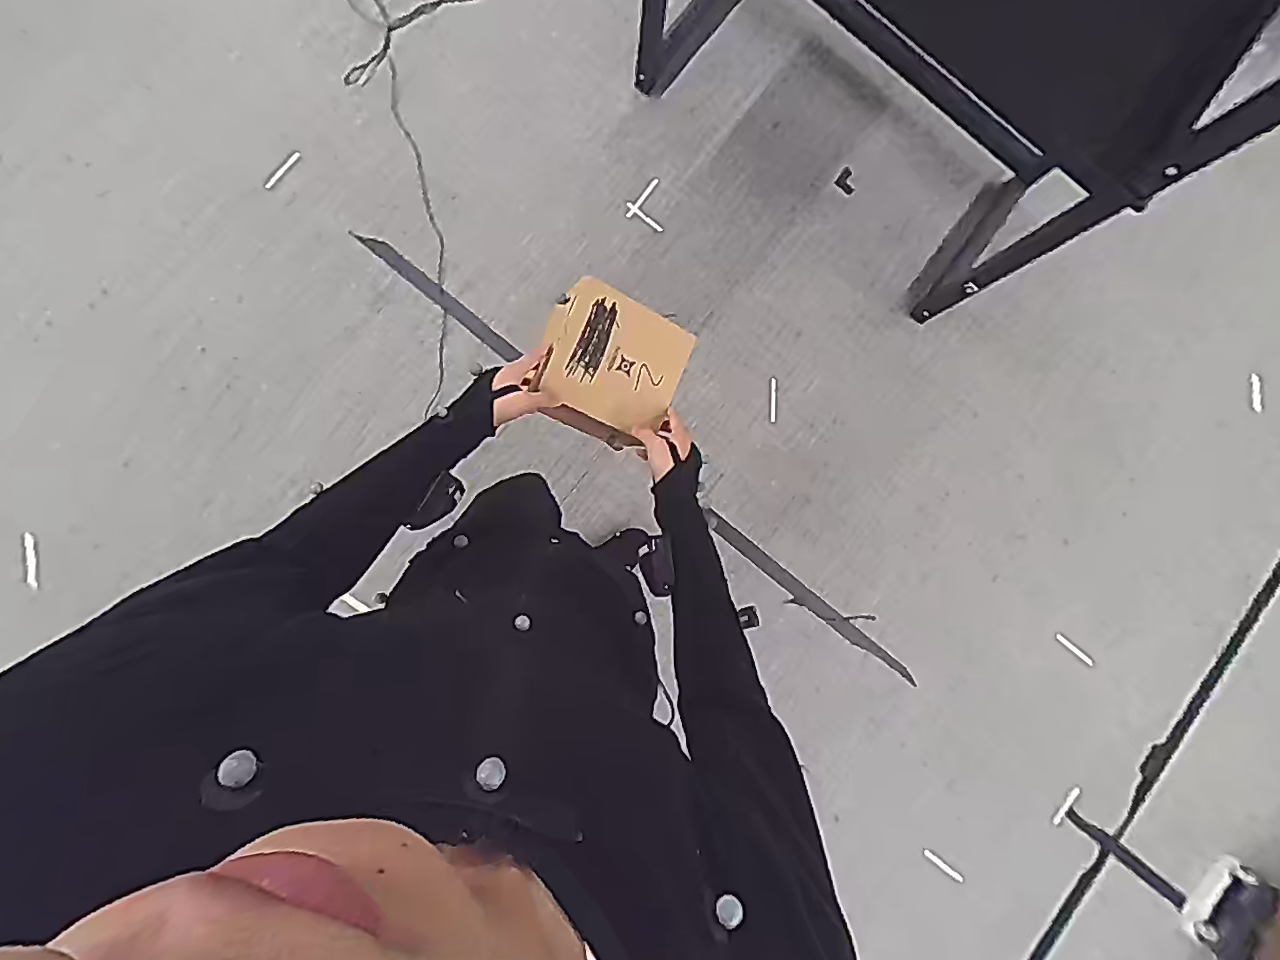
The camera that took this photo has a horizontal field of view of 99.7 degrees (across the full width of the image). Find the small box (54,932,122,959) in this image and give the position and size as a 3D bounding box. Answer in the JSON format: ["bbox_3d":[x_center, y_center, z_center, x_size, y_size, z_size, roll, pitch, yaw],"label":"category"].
[{"bbox_3d":[-0.990,0.923,0.898,0.179,0.176,0.168,-44,92,-3],"label":"small box"}]
